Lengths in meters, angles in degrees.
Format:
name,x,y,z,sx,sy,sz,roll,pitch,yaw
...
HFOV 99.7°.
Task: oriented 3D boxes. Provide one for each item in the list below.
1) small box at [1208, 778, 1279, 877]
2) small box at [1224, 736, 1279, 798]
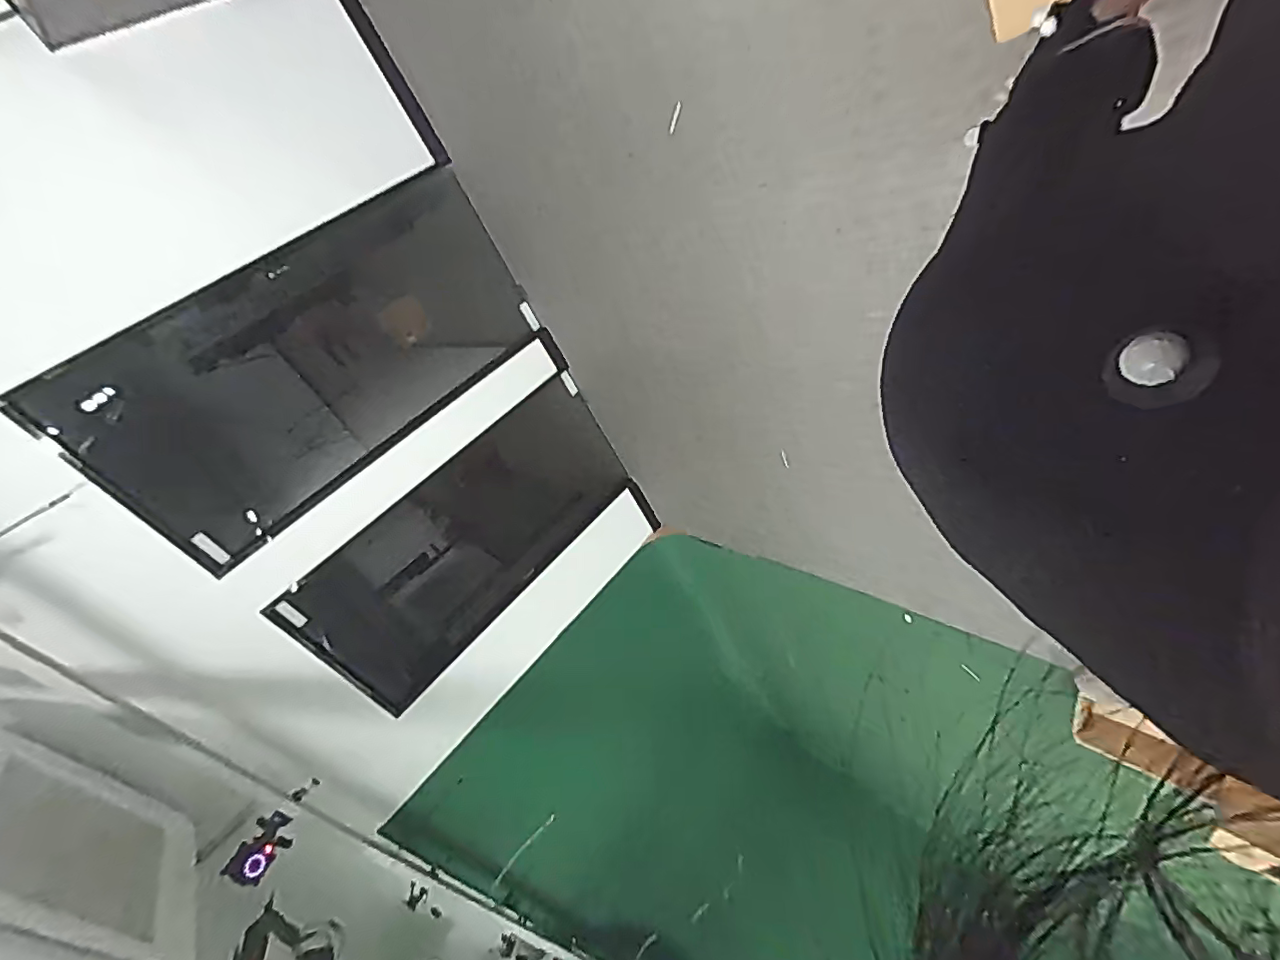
name,x,y,z,sx,sy,sz,roll,pitch,yaw
small box,1.877,1.049,1.632,0.179,0.176,0.168,20,145,48
small box,1.986,0.949,1.705,0.168,0.176,0.179,18,144,48
